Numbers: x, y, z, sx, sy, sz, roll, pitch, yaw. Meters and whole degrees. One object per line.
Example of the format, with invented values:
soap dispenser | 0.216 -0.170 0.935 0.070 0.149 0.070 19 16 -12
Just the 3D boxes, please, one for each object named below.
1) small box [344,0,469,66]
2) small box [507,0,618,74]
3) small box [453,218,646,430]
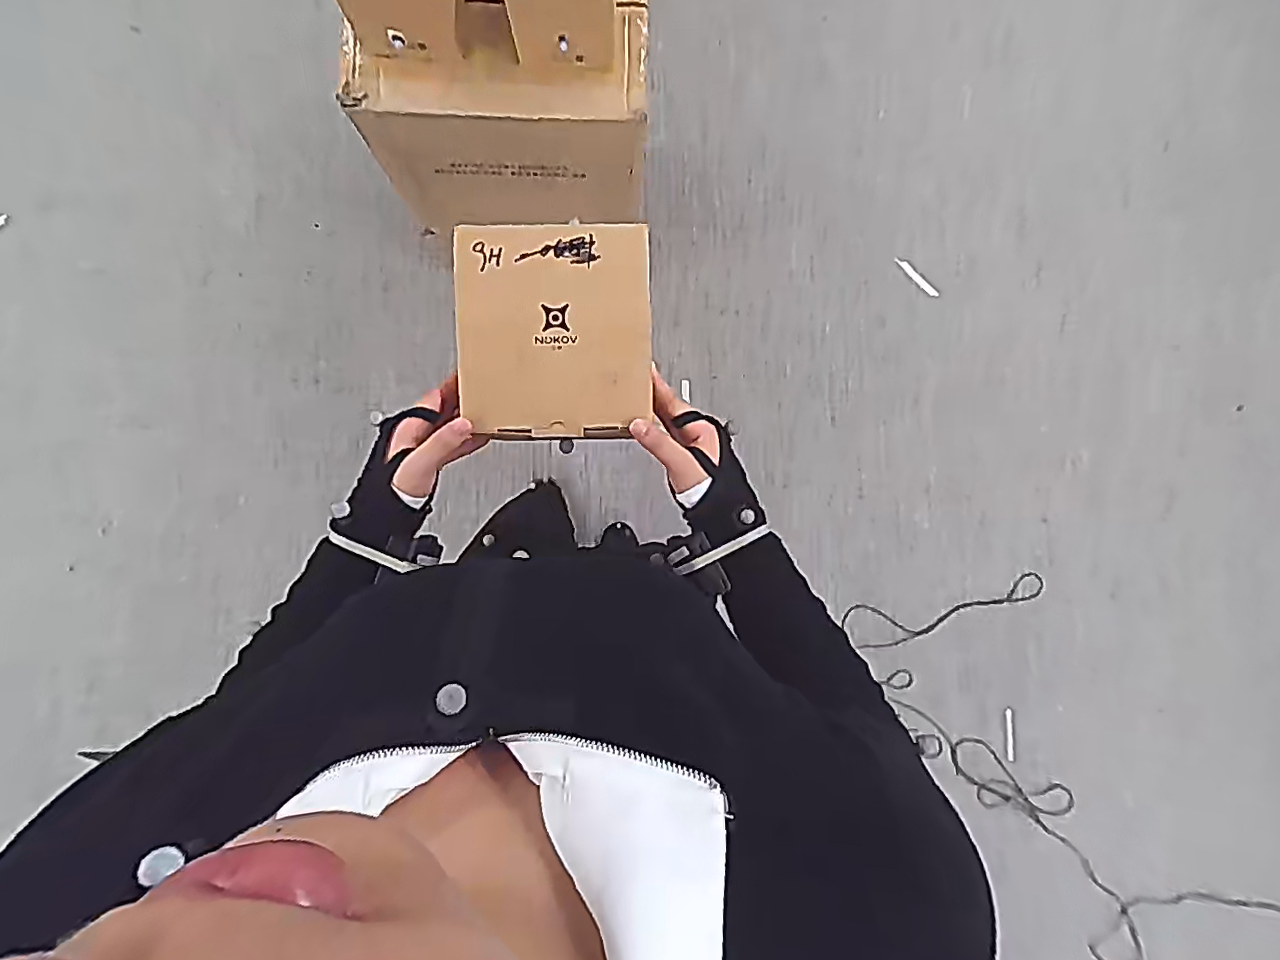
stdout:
small box | -0.375 -0.805 0.850 0.168 0.176 0.179 0 88 -2
small box | -0.122 -0.797 0.859 0.168 0.176 0.179 1 87 0
small box | -0.077 -0.140 0.544 0.168 0.176 0.179 -2 93 -2
